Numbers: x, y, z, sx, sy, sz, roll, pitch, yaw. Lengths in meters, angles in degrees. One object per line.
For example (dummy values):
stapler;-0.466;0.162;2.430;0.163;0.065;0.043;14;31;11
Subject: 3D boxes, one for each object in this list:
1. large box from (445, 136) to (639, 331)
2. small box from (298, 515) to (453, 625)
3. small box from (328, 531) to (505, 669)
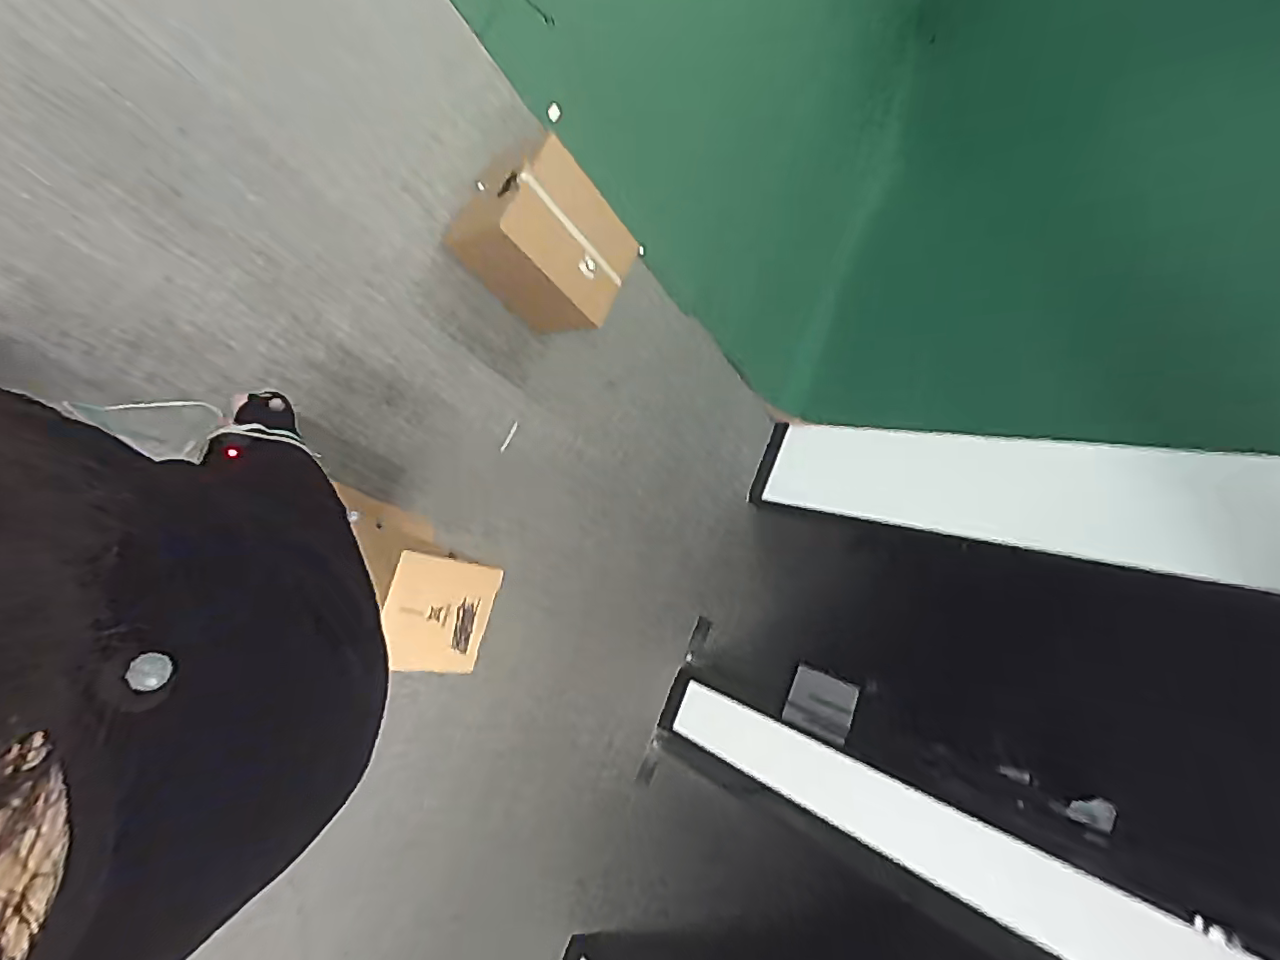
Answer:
large box;-0.279;-0.689;1.588;0.408;0.320;0.320;38;70;-45
small box;-0.473;0.166;0.964;0.179;0.176;0.168;26;78;-46
small box;-0.352;0.187;0.853;0.179;0.176;0.168;25;78;-46
